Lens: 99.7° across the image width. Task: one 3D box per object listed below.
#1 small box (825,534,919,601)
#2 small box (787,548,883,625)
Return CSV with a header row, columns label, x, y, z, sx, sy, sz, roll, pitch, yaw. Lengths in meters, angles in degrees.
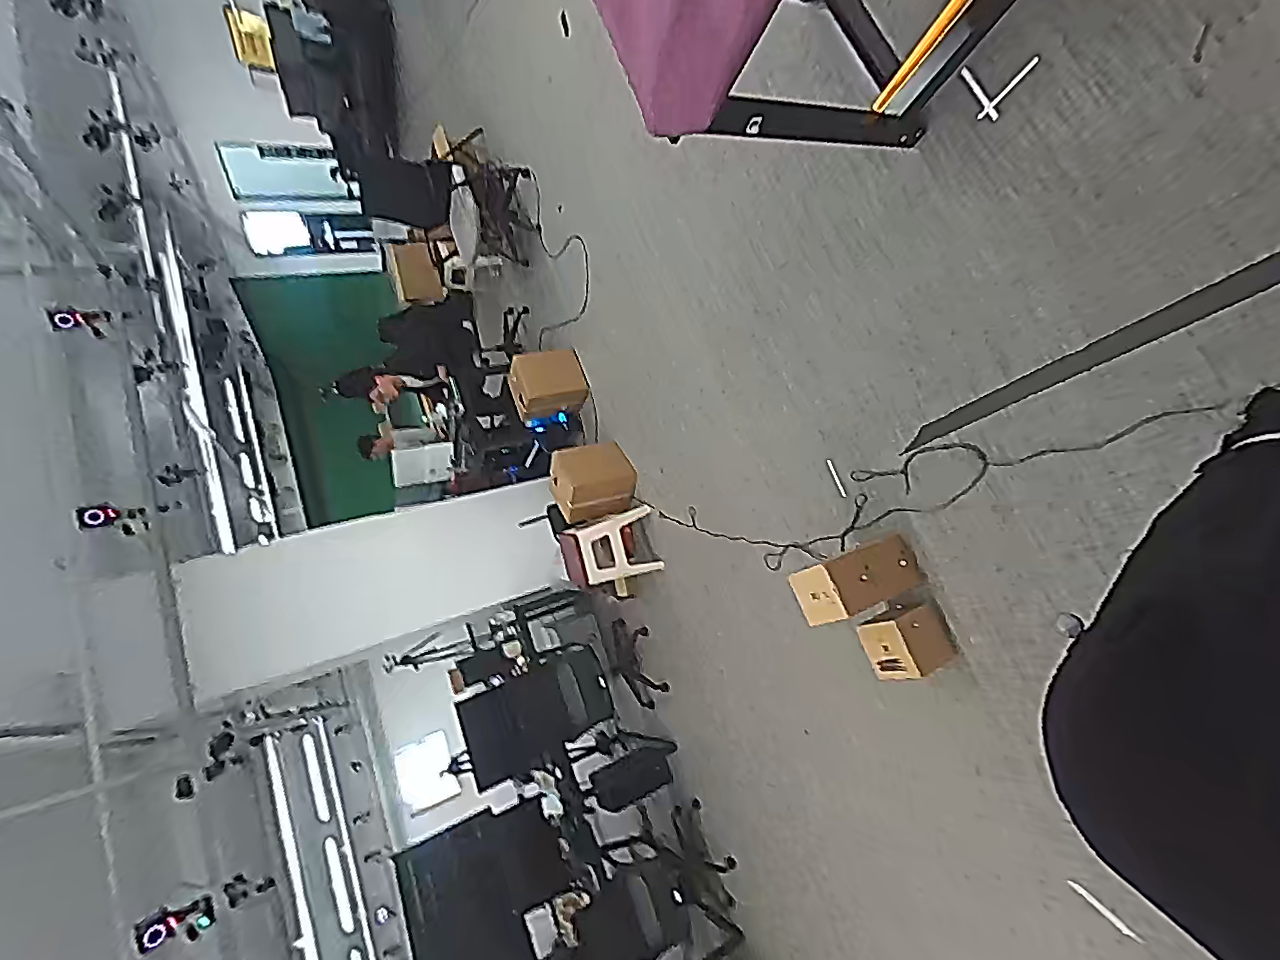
label,x,y,z,sx,sy,sz,roll,pitch,yaw
small box,0.721,0.282,1.686,0.179,0.176,0.168,-42,66,59
small box,0.579,0.318,1.611,0.168,0.176,0.179,68,151,13
